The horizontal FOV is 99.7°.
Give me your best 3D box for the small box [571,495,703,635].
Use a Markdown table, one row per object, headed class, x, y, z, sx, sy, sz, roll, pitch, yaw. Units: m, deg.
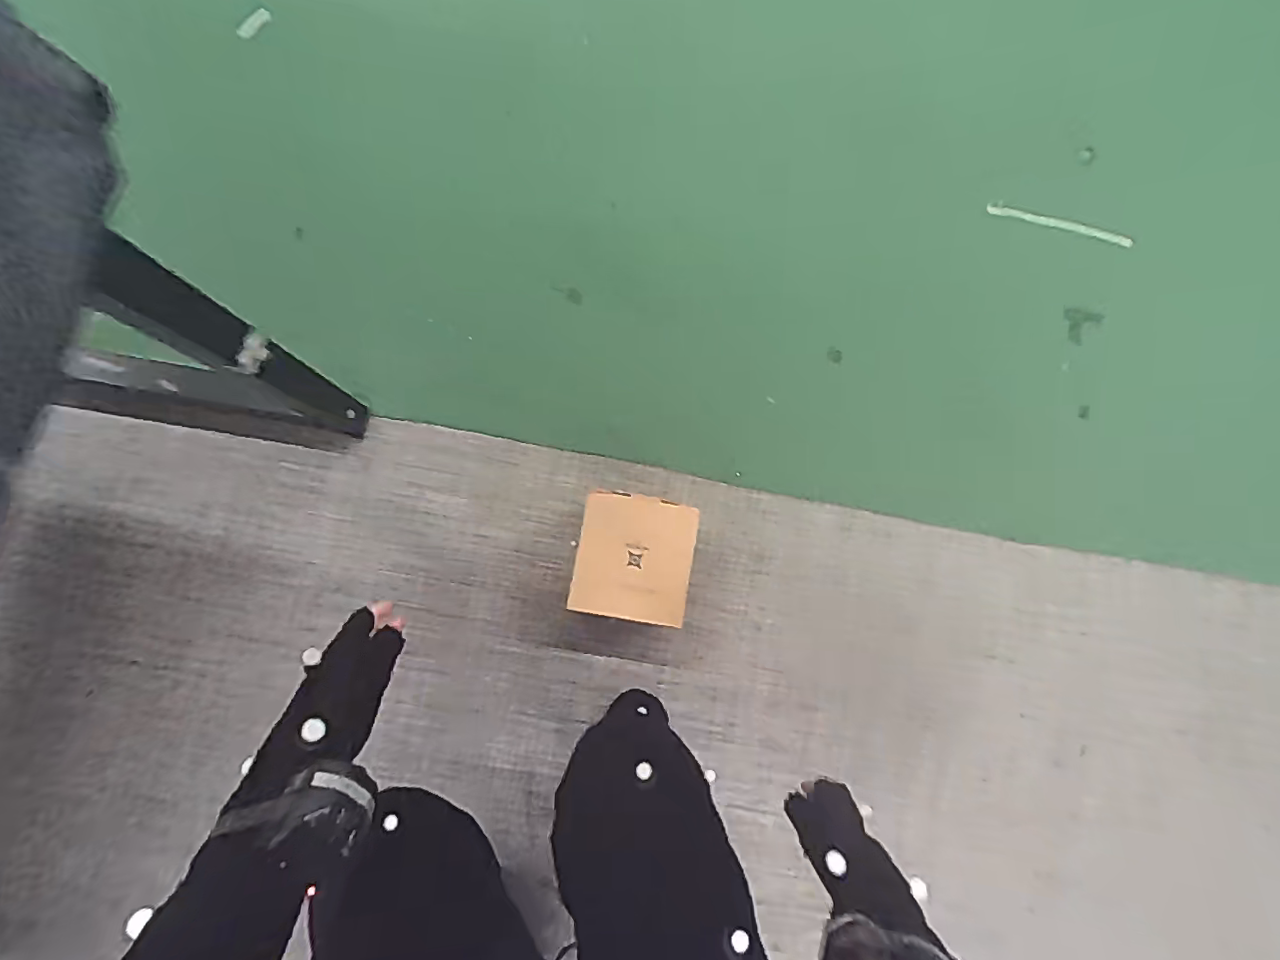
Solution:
| class | x | y | z | sx | sy | sz | roll | pitch | yaw |
| --- | --- | --- | --- | --- | --- | --- | --- | --- | --- |
| small box | -0.008 | 0.133 | 0.850 | 0.168 | 0.176 | 0.179 | 11 | 81 | -2 |
